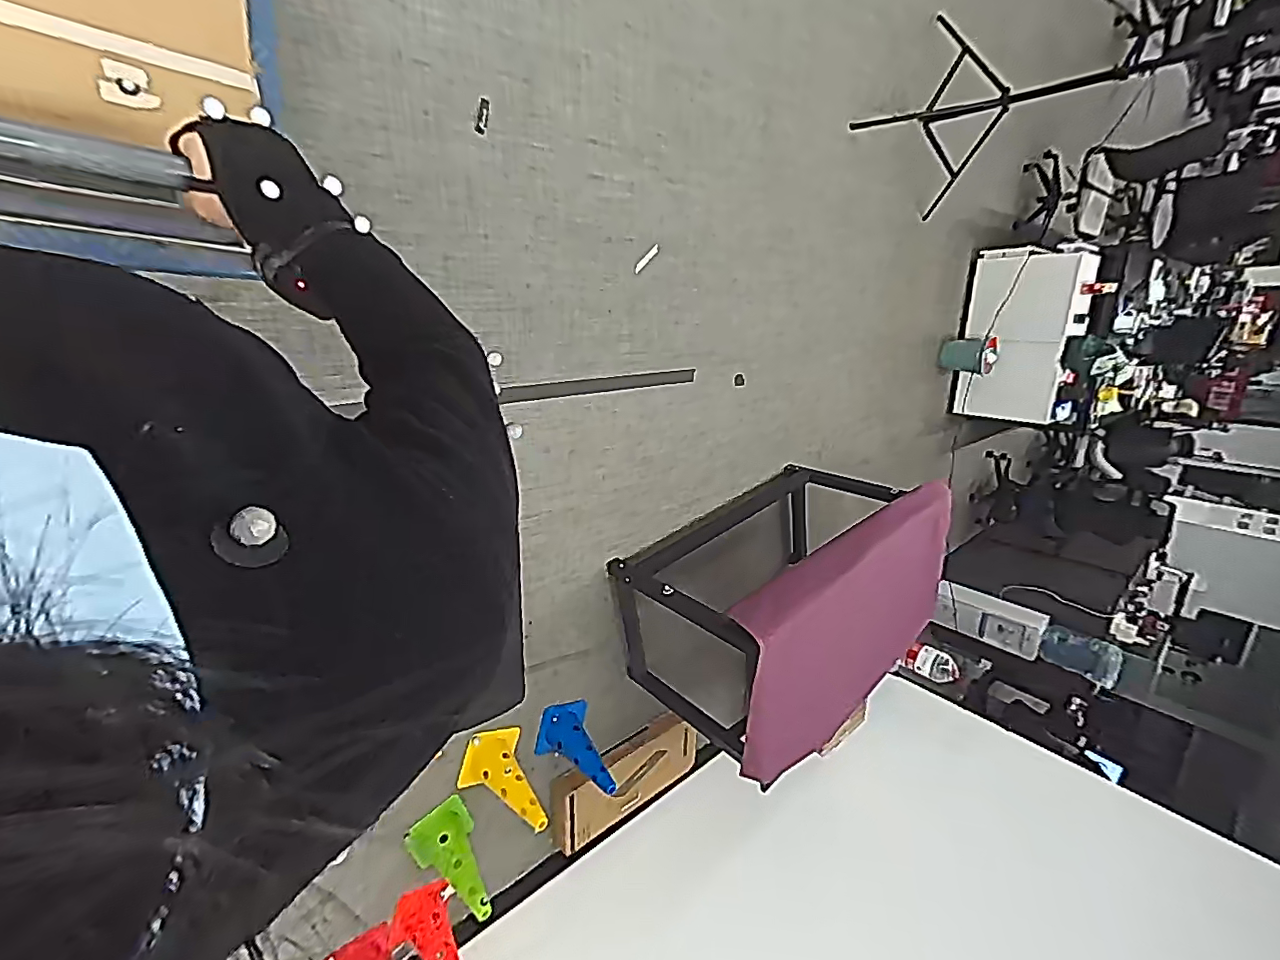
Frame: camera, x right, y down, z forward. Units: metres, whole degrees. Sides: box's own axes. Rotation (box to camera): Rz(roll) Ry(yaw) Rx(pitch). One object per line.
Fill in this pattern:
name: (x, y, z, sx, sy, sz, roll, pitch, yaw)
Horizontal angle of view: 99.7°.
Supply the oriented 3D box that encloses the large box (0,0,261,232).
large box: (-0.800, -0.557, 0.744, 0.408, 0.320, 0.320, -8, 109, -41)
